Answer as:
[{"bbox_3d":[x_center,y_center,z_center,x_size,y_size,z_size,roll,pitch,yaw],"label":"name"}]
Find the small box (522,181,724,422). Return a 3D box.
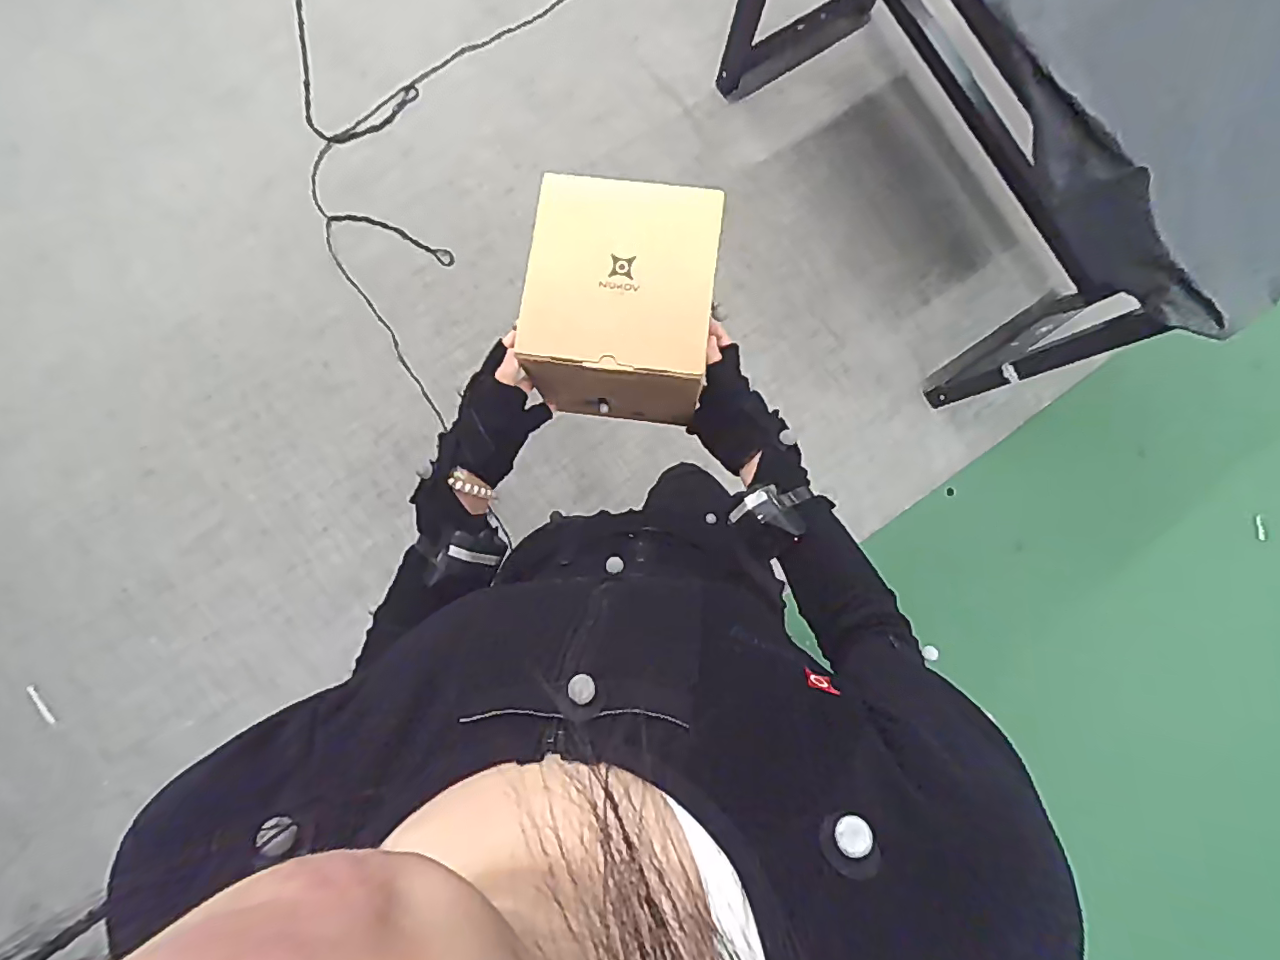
[{"bbox_3d":[-0.013,-0.172,0.566,0.168,0.176,0.179,7,83,2],"label":"small box"}]
